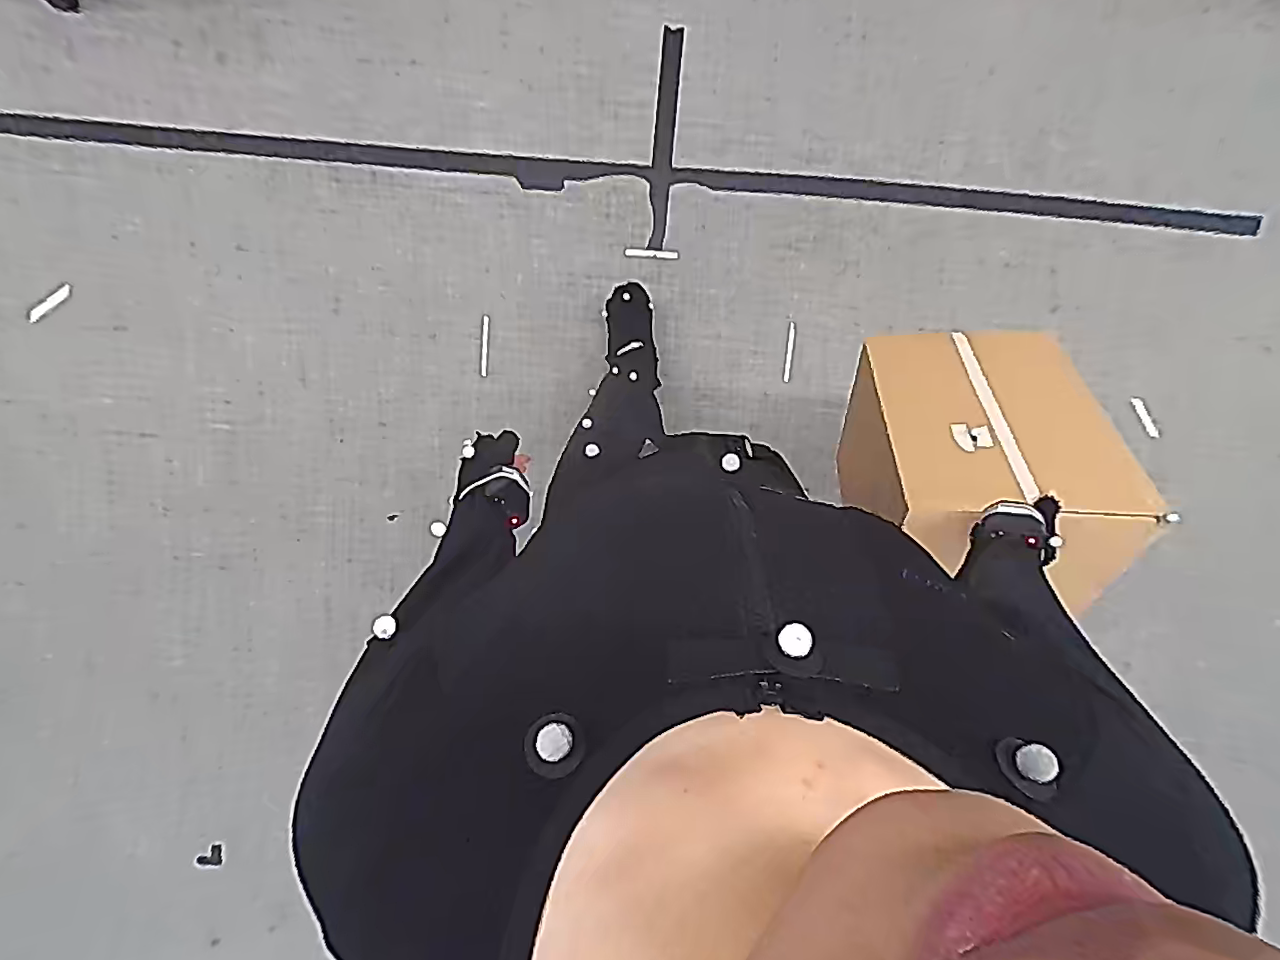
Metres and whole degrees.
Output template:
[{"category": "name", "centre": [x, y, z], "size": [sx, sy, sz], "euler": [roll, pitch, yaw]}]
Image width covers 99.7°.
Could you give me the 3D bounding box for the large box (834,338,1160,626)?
[{"category": "large box", "centre": [0.549, -0.003, 0.950], "size": [0.320, 0.408, 0.320], "euler": [1, 139, 9]}]
